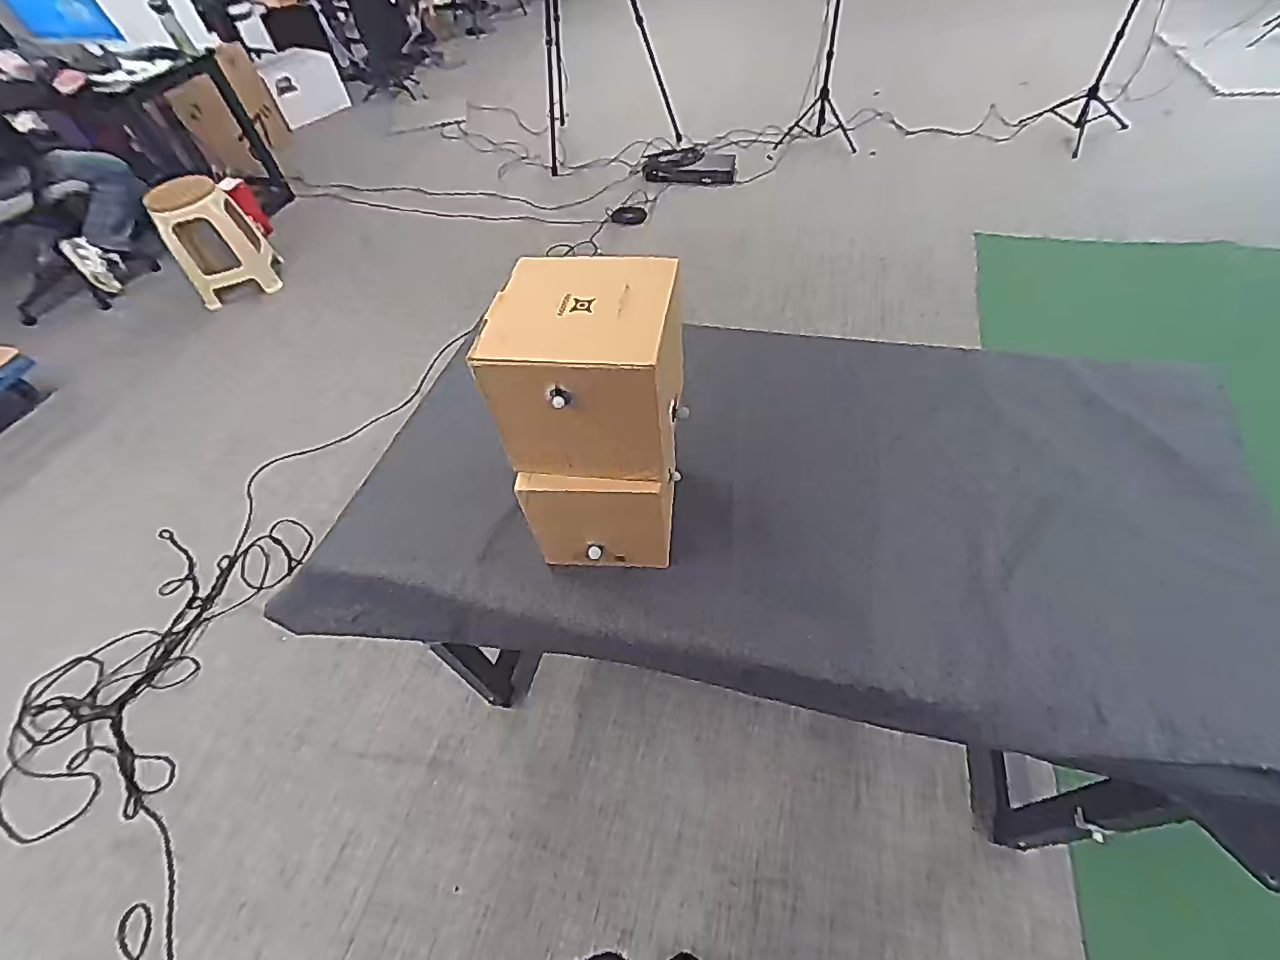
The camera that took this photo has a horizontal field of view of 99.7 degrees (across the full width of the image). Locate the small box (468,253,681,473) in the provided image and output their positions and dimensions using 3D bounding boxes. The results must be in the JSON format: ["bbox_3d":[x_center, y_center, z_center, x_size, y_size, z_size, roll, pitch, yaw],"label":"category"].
[{"bbox_3d":[-0.052,-0.122,0.583,0.179,0.176,0.168,5,54,9],"label":"small box"}]

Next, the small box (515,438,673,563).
[{"bbox_3d":[-0.045,-0.012,0.703,0.168,0.176,0.179,1,53,7],"label":"small box"}]
